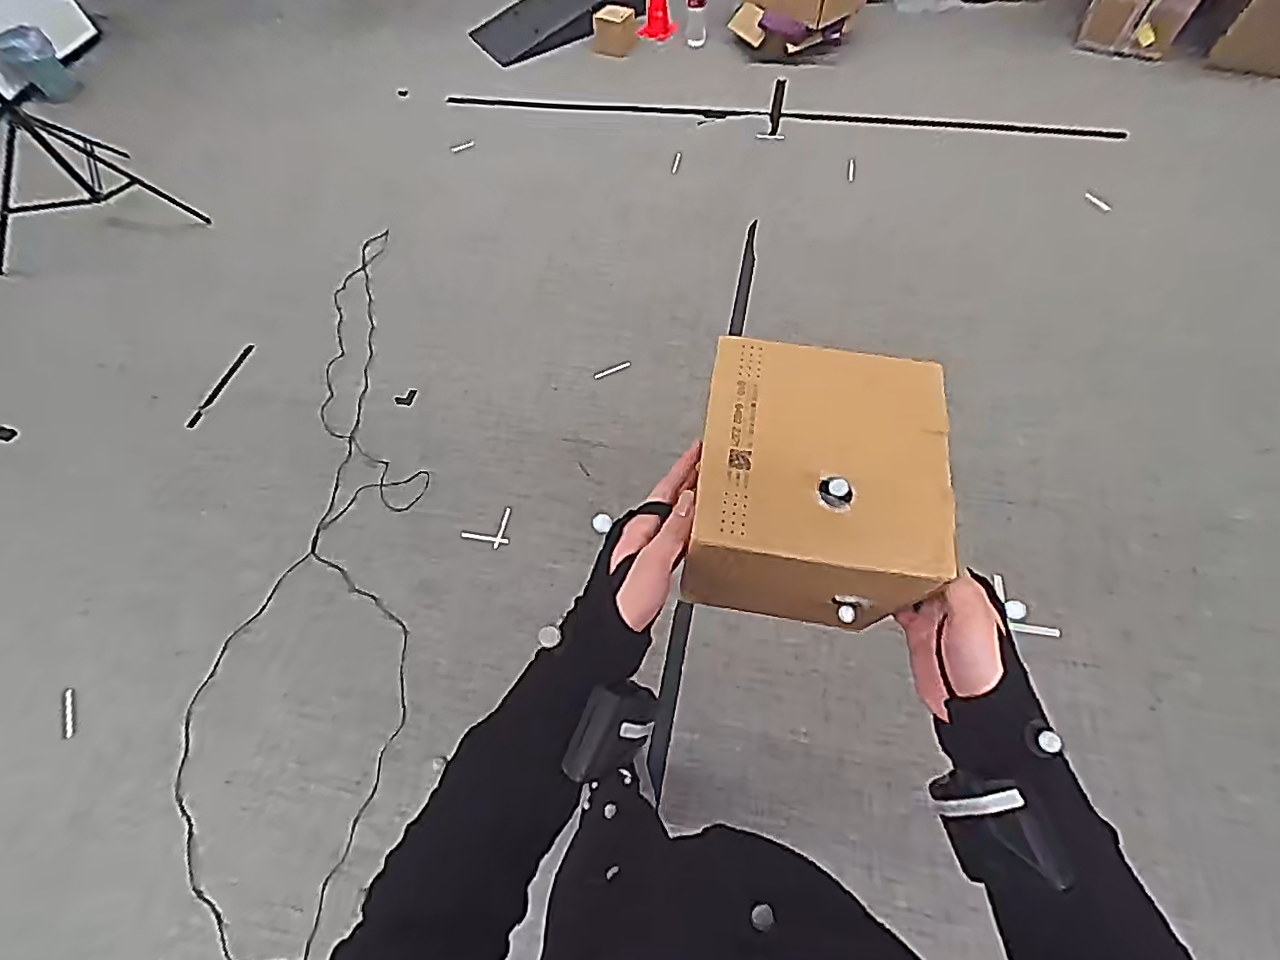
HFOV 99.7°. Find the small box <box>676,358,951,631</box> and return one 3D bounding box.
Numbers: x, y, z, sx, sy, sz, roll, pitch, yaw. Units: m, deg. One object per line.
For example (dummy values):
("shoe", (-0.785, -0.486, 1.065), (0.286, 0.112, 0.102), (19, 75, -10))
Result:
("small box", (0.124, 0.016, 0.451), (0.176, 0.179, 0.168), (10, 65, 4))
